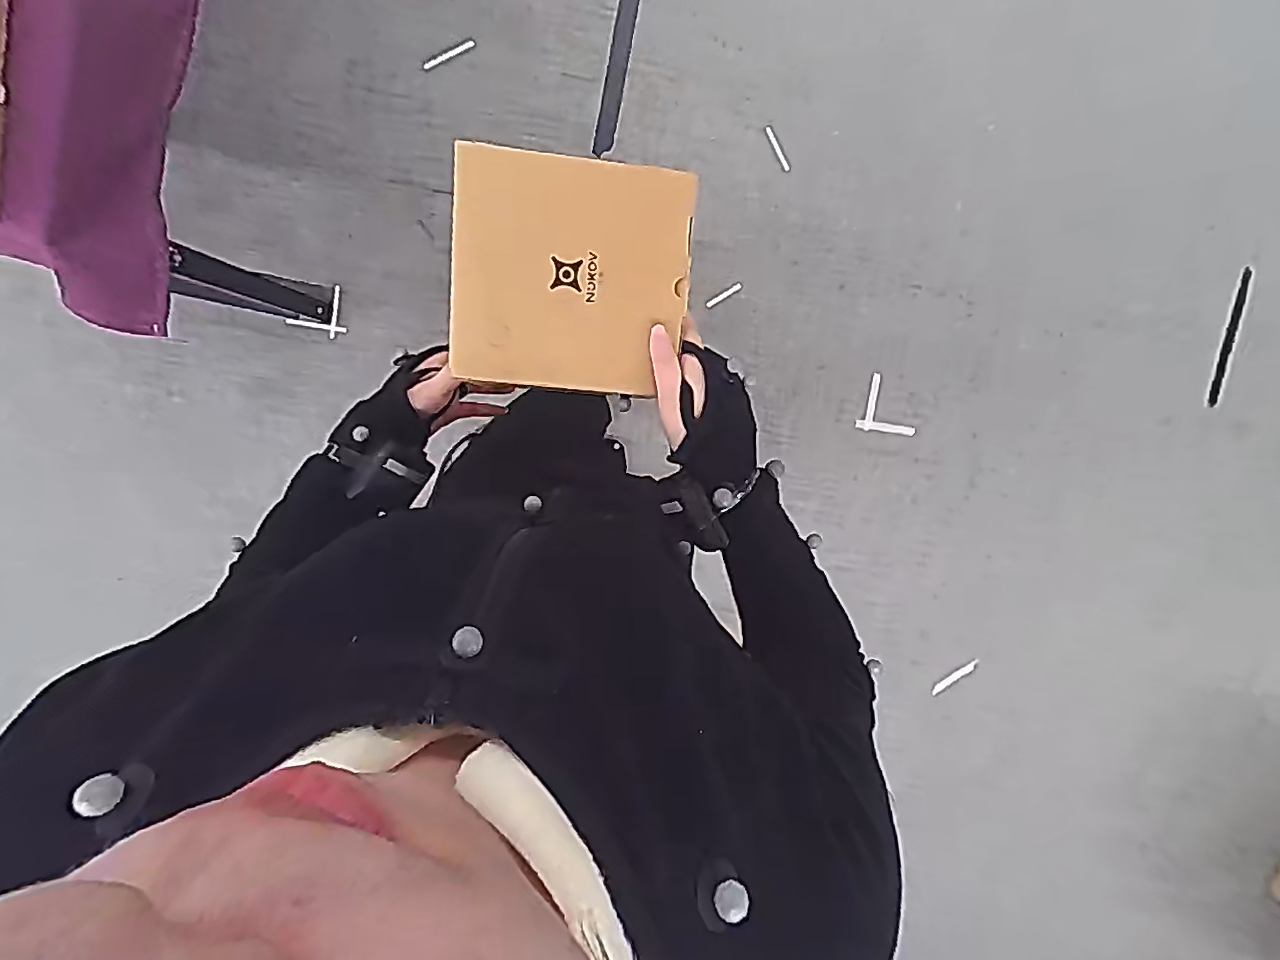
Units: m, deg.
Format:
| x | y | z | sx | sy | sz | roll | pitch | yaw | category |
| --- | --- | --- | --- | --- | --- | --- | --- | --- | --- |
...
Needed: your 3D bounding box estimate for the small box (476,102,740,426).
| x | y | z | sx | sy | sz | roll | pitch | yaw | category |
| --- | --- | --- | --- | --- | --- | --- | --- | --- | --- |
| -0.036 | -0.152 | 0.442 | 0.168 | 0.176 | 0.179 | 0 | 80 | -26 | small box |
